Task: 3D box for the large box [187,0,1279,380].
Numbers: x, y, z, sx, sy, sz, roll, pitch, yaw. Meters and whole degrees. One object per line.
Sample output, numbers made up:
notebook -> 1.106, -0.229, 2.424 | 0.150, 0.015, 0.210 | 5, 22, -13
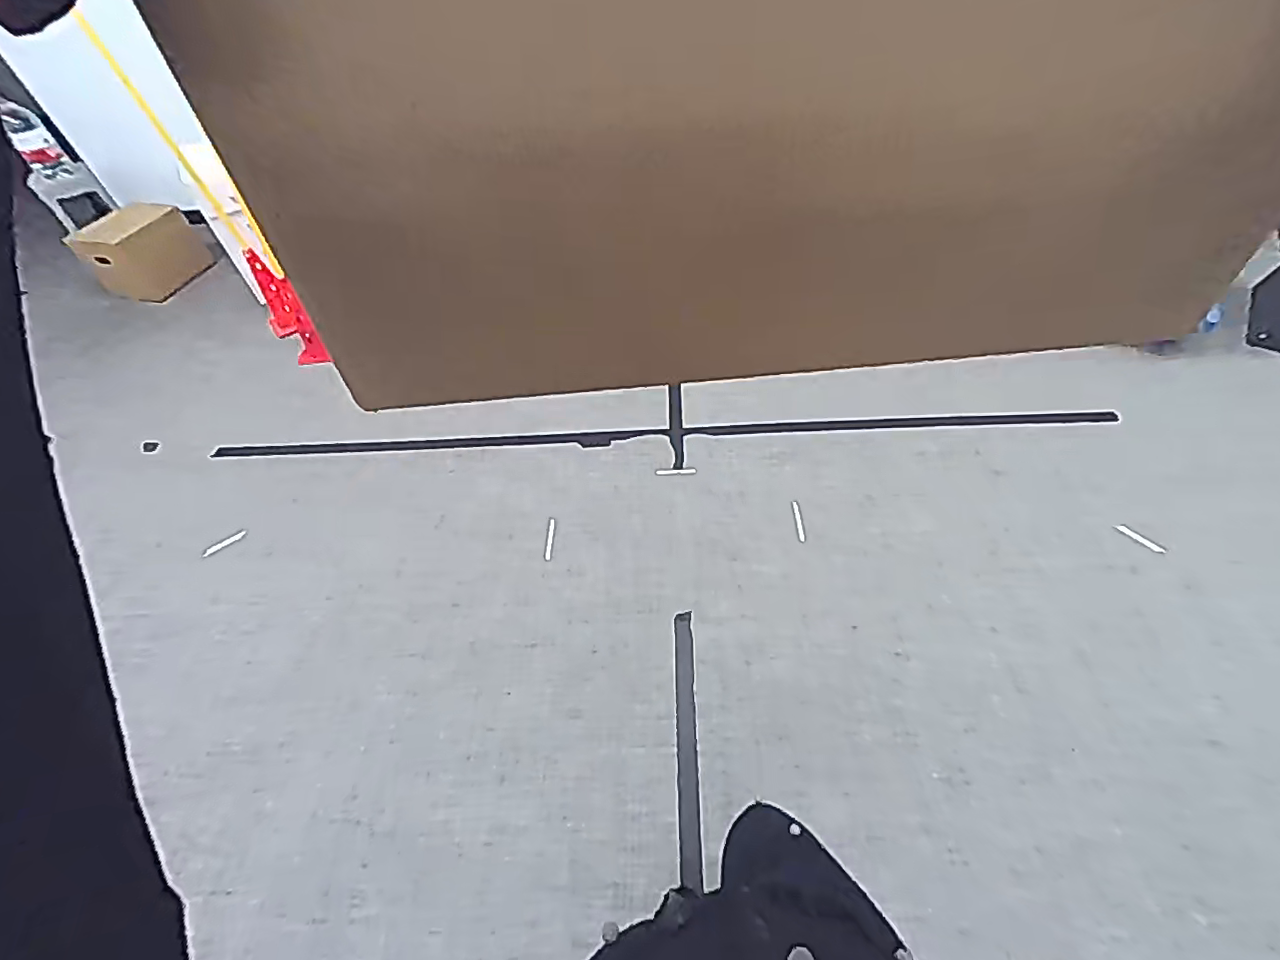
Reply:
large box -> 0.044, -0.273, 0.264 | 0.408, 0.320, 0.320 | -5, 46, -2
